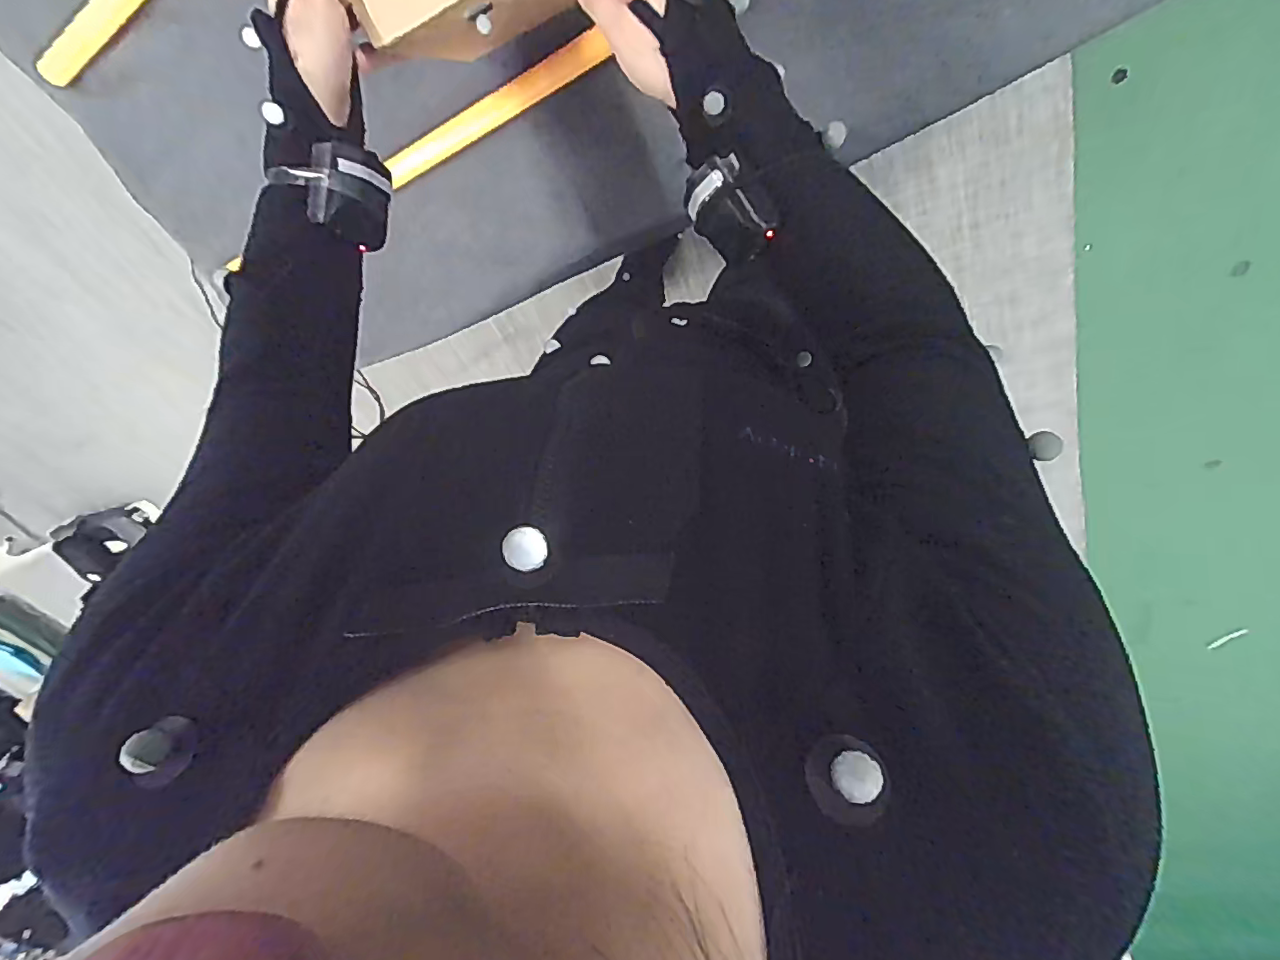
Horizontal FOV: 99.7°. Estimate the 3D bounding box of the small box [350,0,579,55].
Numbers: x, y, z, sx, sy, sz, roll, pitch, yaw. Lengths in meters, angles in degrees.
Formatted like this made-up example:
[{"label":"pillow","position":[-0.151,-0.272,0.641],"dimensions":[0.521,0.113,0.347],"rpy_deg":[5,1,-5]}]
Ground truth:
[{"label":"small box","position":[-0.131,-0.446,0.401],"dimensions":[0.179,0.176,0.168],"rpy_deg":[-11,123,21]}]
